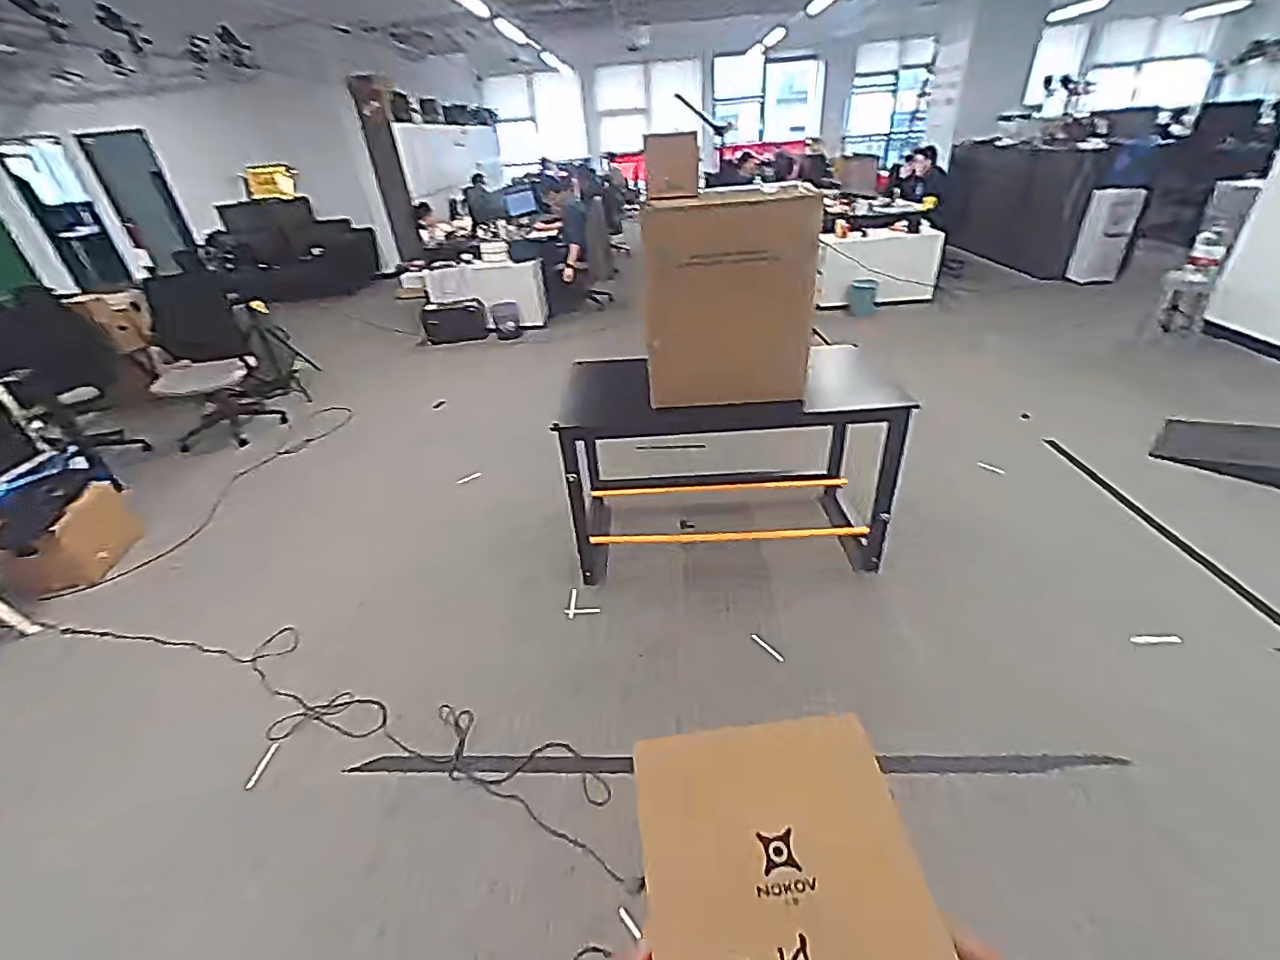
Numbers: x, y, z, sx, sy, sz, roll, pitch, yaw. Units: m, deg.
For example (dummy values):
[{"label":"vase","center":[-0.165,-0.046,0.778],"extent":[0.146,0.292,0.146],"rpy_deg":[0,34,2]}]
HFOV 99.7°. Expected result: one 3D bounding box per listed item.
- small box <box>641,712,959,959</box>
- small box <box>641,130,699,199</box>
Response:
[{"label":"small box","center":[0.089,0.290,0.375],"extent":[0.168,0.176,0.179],"rpy_deg":[-6,41,-1]},{"label":"small box","center":[0.092,-0.955,1.639],"extent":[0.168,0.176,0.179],"rpy_deg":[-3,32,4]}]
